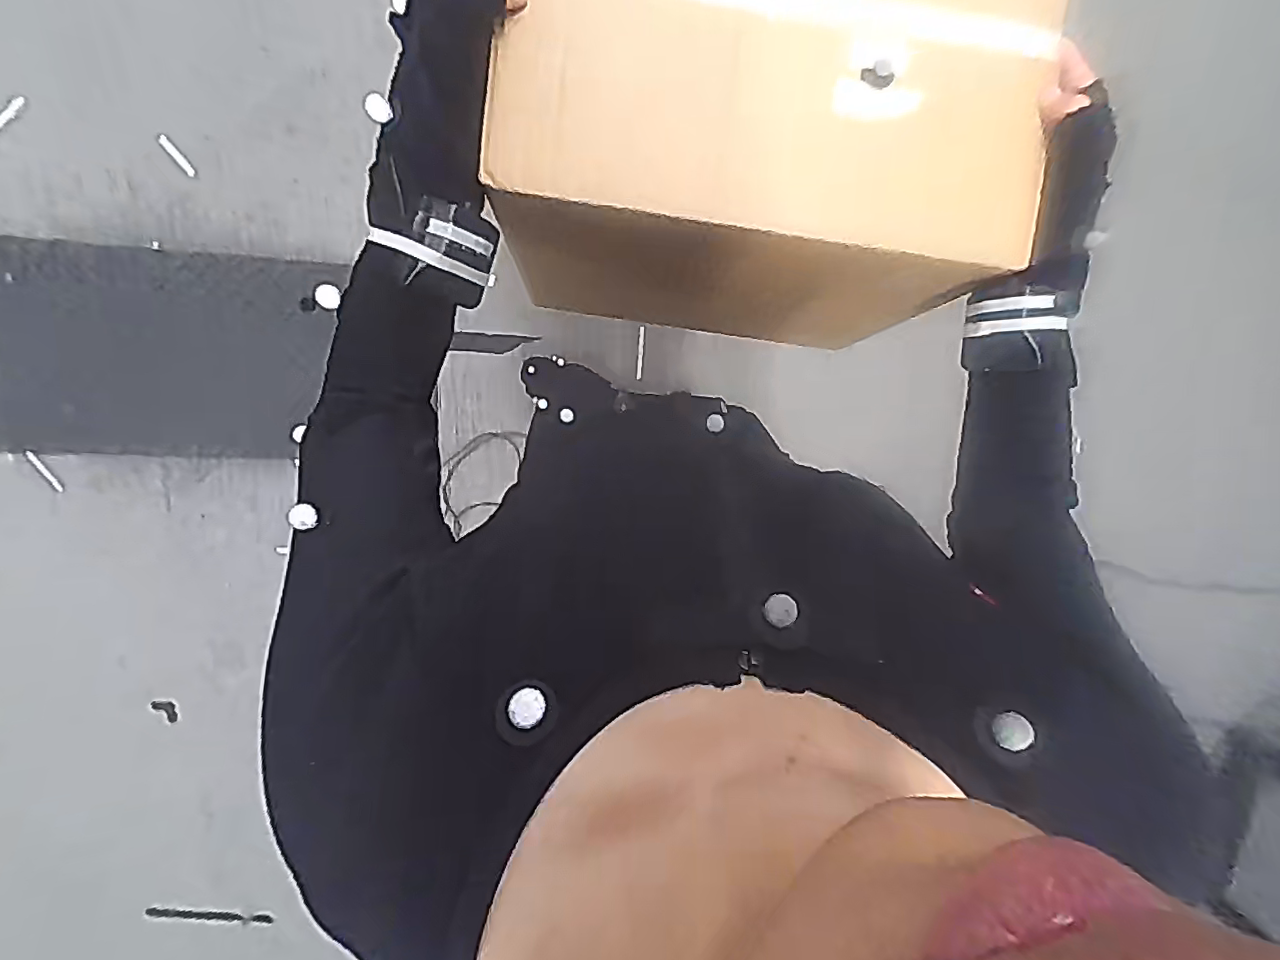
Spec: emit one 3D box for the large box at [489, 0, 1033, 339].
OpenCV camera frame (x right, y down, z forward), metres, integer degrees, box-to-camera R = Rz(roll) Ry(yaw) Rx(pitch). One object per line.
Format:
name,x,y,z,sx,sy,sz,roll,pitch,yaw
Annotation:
large box,0.085,-0.347,0.548,0.408,0.320,0.320,6,92,-5

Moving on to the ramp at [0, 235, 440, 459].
ramp,-1.023,-0.302,1.330,0.991,0.206,0.509,1,100,-2
